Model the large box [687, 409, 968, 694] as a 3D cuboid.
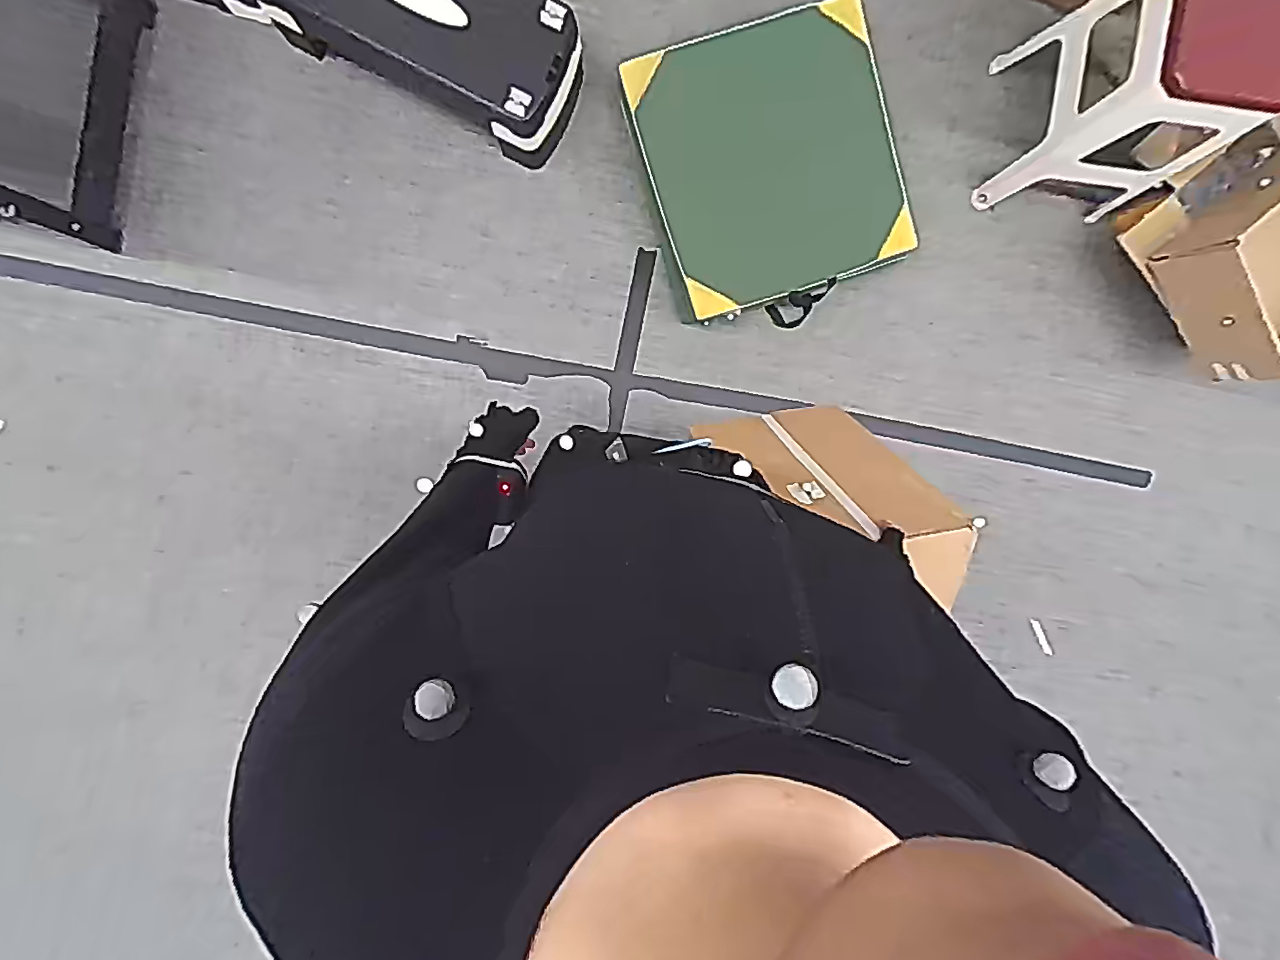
[{"bbox_3d":[0.290,0.109,1.002,0.320,0.408,0.320,-10,125,-8],"label":"large box"}]
